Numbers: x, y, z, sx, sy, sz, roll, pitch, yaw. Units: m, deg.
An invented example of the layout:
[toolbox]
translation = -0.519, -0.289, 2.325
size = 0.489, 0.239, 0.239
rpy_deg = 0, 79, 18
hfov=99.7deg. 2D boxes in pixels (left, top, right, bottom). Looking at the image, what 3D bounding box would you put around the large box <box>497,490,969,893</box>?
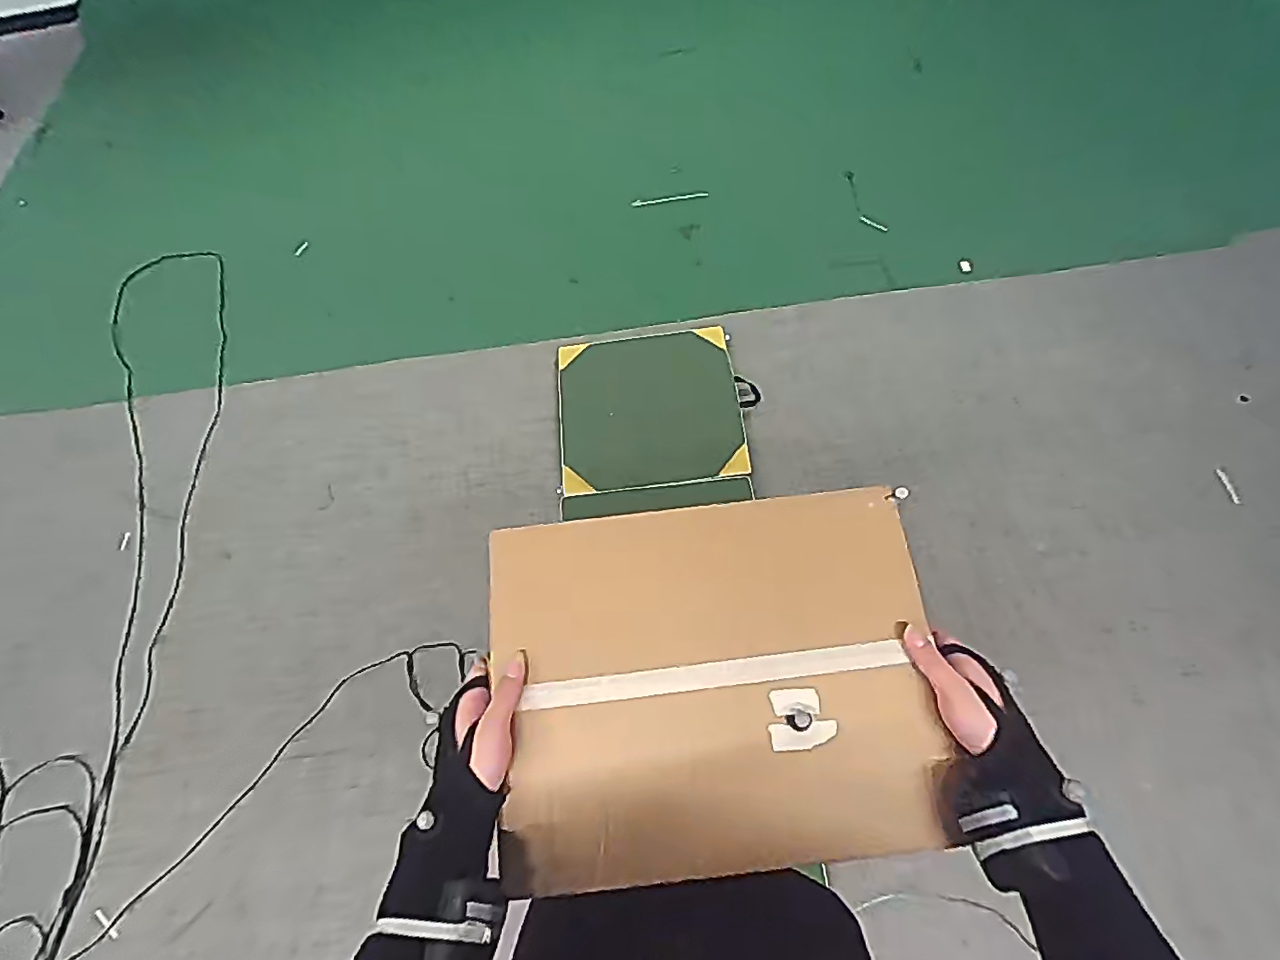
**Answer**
[large box]
translation = 0.071, 0.227, 0.647
size = 0.408, 0.320, 0.320
rpy_deg = -7, 72, -1
